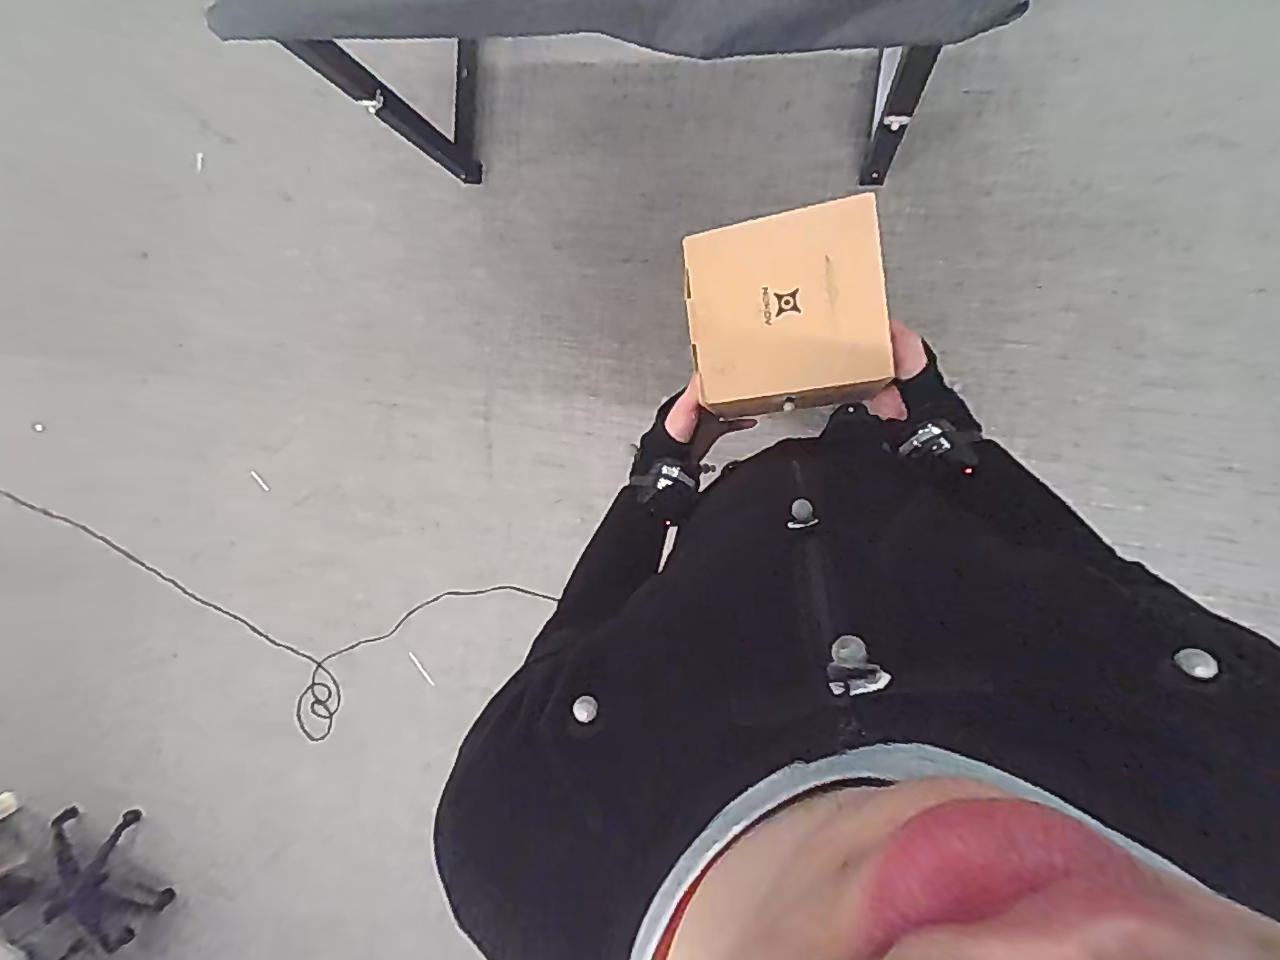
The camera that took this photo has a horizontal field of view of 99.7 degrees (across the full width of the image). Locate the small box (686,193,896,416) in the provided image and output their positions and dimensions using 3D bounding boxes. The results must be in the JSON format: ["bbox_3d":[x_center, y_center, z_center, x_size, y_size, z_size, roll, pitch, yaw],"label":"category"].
[{"bbox_3d":[0.158,-0.165,0.575,0.179,0.176,0.168,-7,90,16],"label":"small box"}]
